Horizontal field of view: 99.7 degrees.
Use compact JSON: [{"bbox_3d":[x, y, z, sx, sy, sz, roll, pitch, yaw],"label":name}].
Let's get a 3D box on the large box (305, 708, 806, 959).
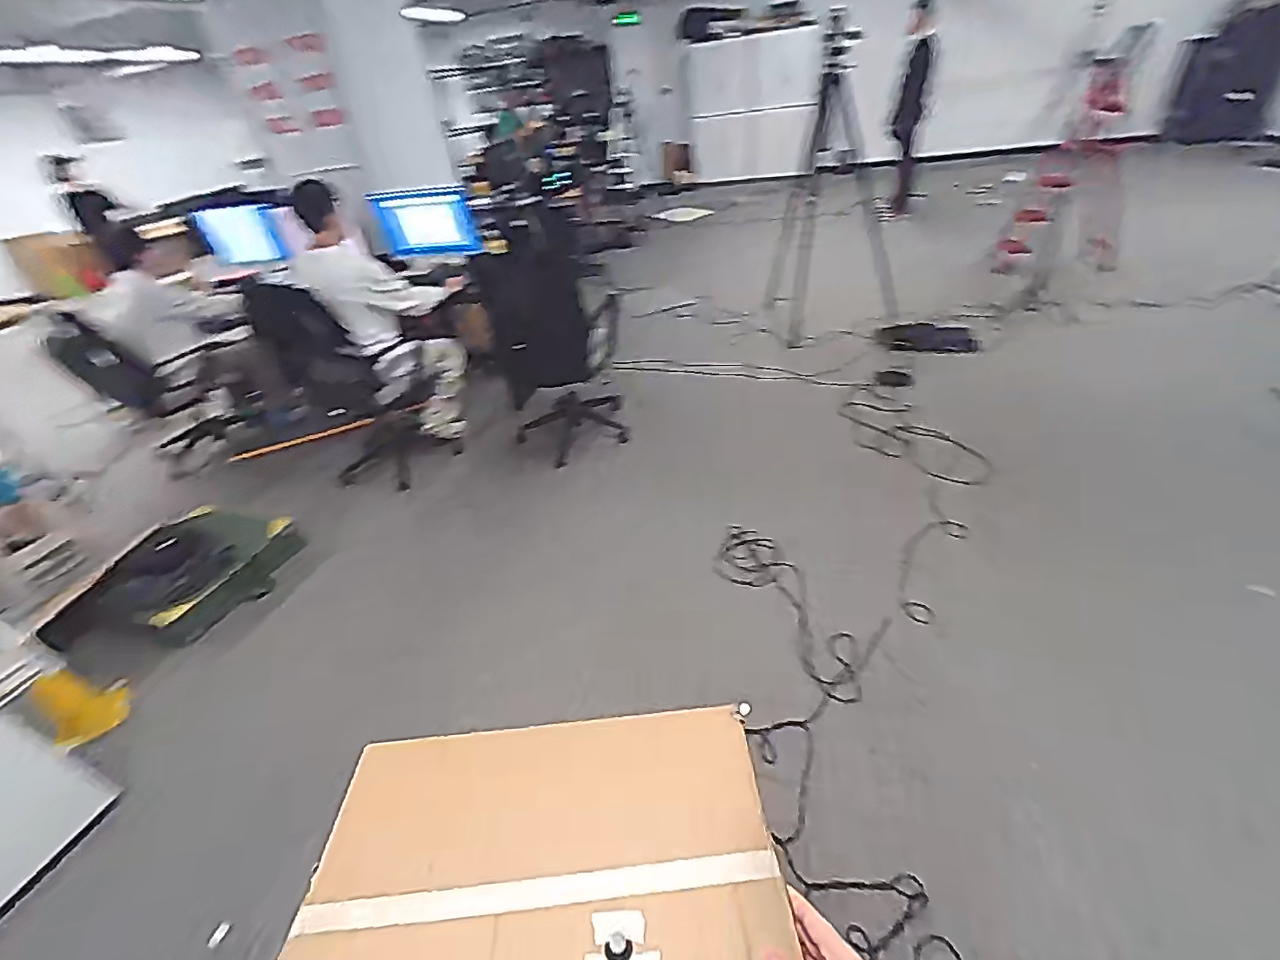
[{"bbox_3d":[-0.066,0.475,0.546,0.408,0.320,0.320,-4,33,-1],"label":"large box"}]
